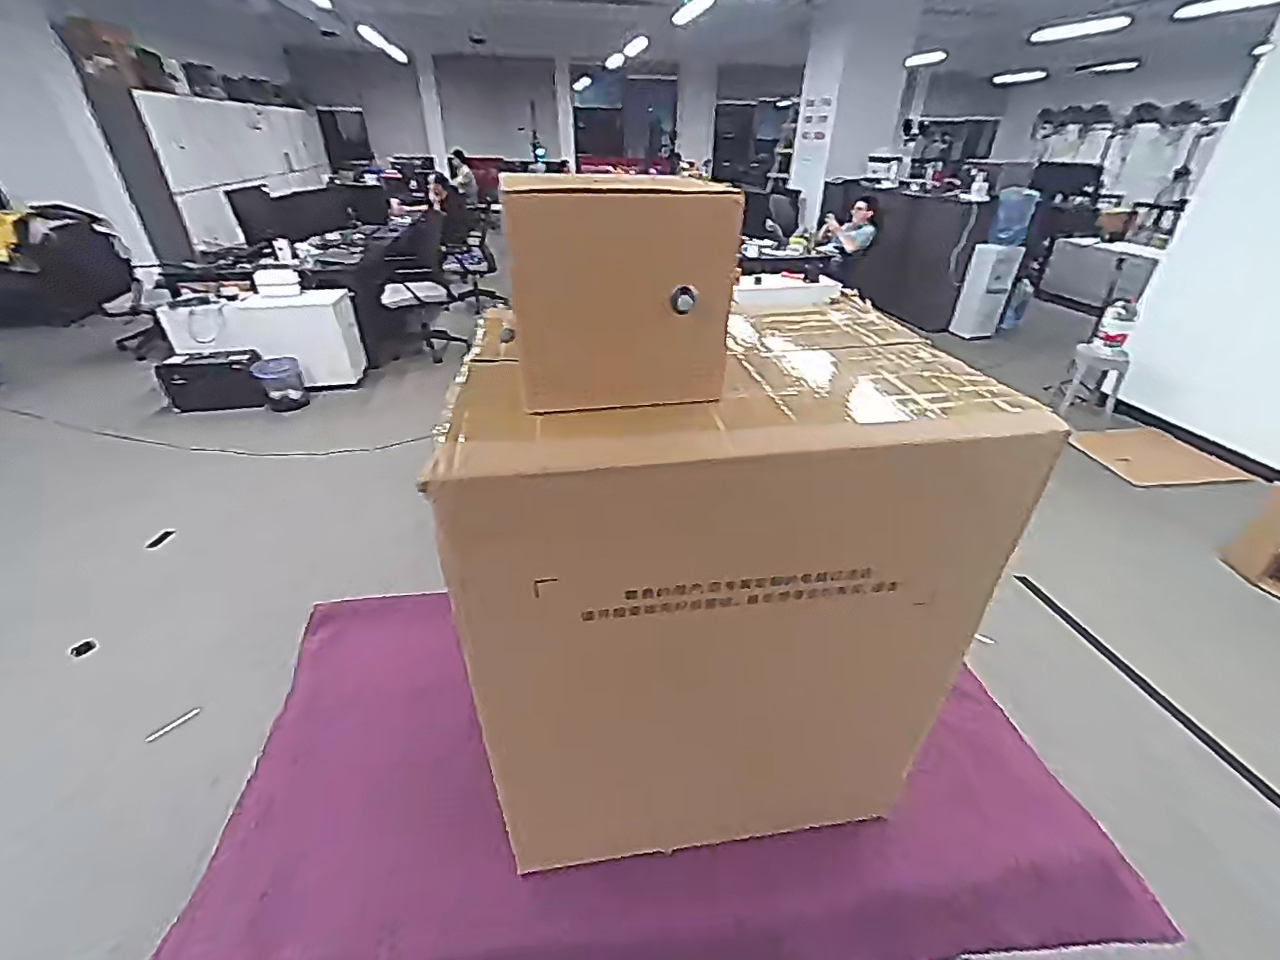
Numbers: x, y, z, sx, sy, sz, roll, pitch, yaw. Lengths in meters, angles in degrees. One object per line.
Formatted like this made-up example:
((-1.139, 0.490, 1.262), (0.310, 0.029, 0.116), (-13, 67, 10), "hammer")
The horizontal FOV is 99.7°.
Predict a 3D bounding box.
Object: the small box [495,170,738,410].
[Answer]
((-0.030, -0.175, 0.484), (0.179, 0.176, 0.168), (-7, 33, -11), "small box")
